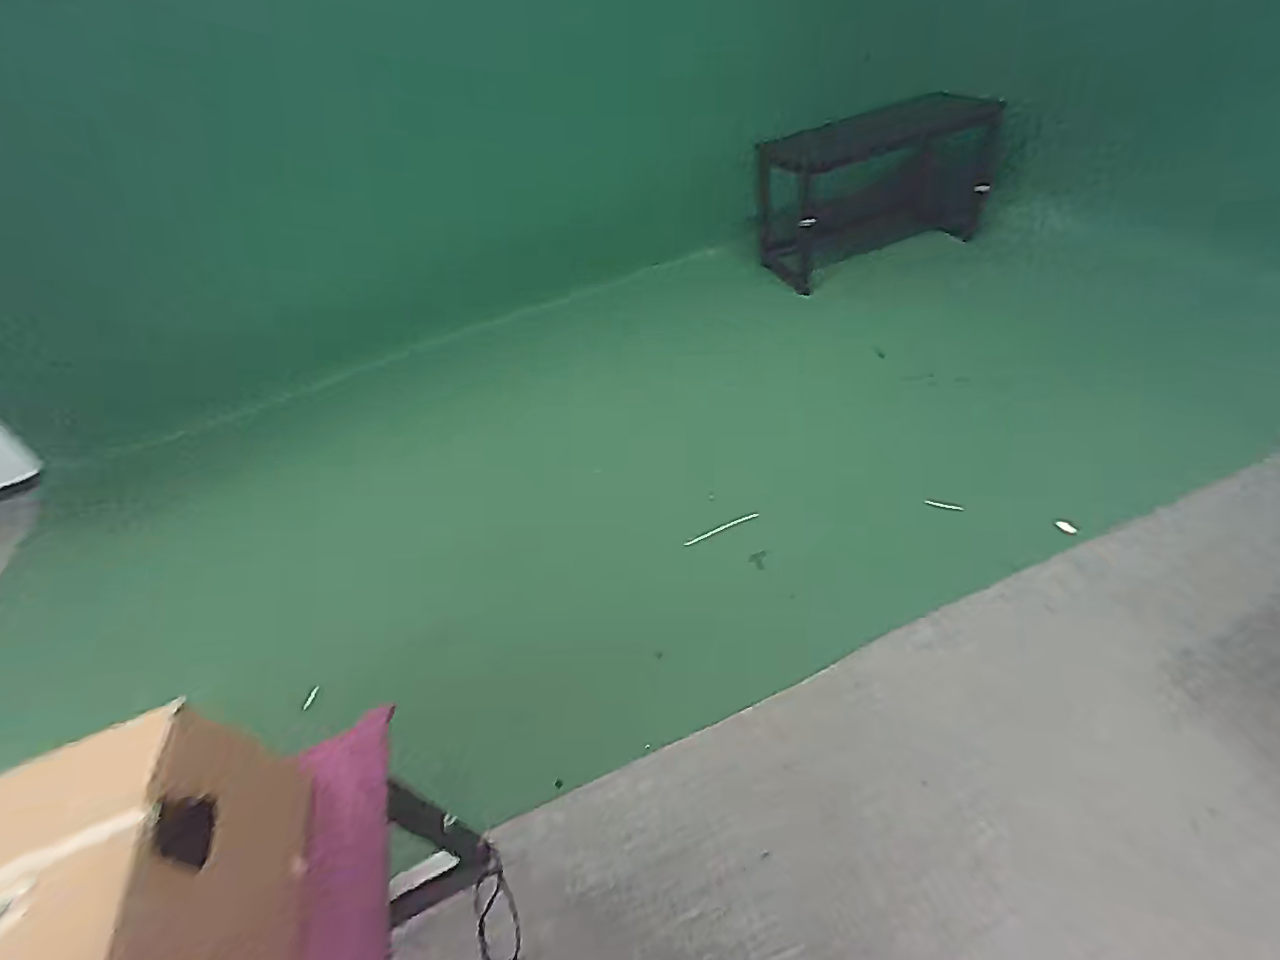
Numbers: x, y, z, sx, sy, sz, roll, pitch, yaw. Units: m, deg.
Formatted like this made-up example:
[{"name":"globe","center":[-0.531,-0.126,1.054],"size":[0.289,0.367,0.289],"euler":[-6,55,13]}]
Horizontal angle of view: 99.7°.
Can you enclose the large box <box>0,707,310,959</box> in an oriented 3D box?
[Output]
[{"name":"large box","center":[-0.731,0.585,0.711],"size":[0.408,0.320,0.320],"euler":[-22,45,-9]}]
